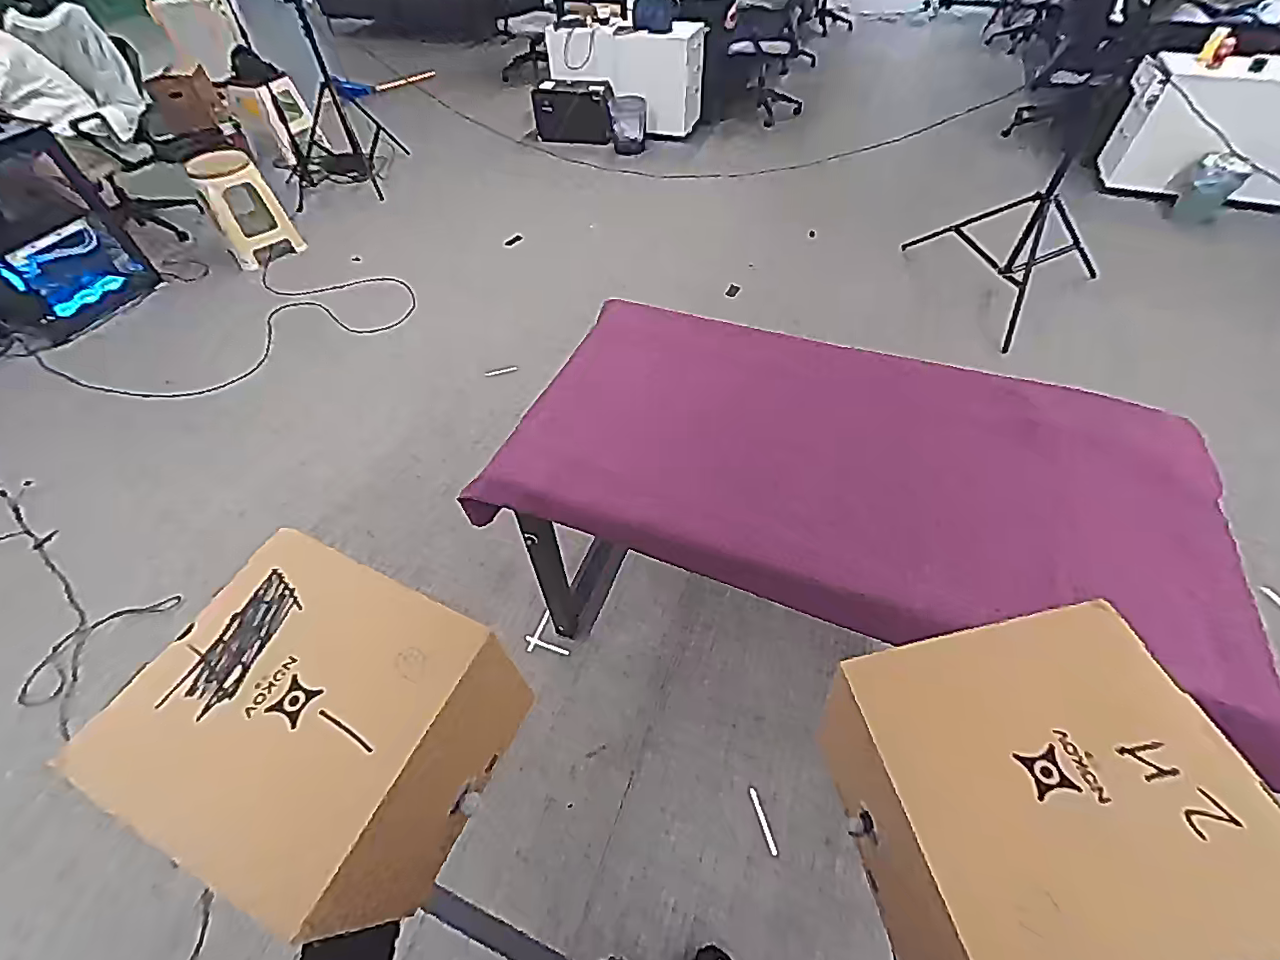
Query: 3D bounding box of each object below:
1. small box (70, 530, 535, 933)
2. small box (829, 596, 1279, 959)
[{"bbox_3d":[-0.196,0.168,0.376,0.179,0.176,0.168,21,58,14],"label":"small box"},{"bbox_3d":[0.237,0.203,0.350,0.179,0.176,0.168,-13,49,-1],"label":"small box"}]
